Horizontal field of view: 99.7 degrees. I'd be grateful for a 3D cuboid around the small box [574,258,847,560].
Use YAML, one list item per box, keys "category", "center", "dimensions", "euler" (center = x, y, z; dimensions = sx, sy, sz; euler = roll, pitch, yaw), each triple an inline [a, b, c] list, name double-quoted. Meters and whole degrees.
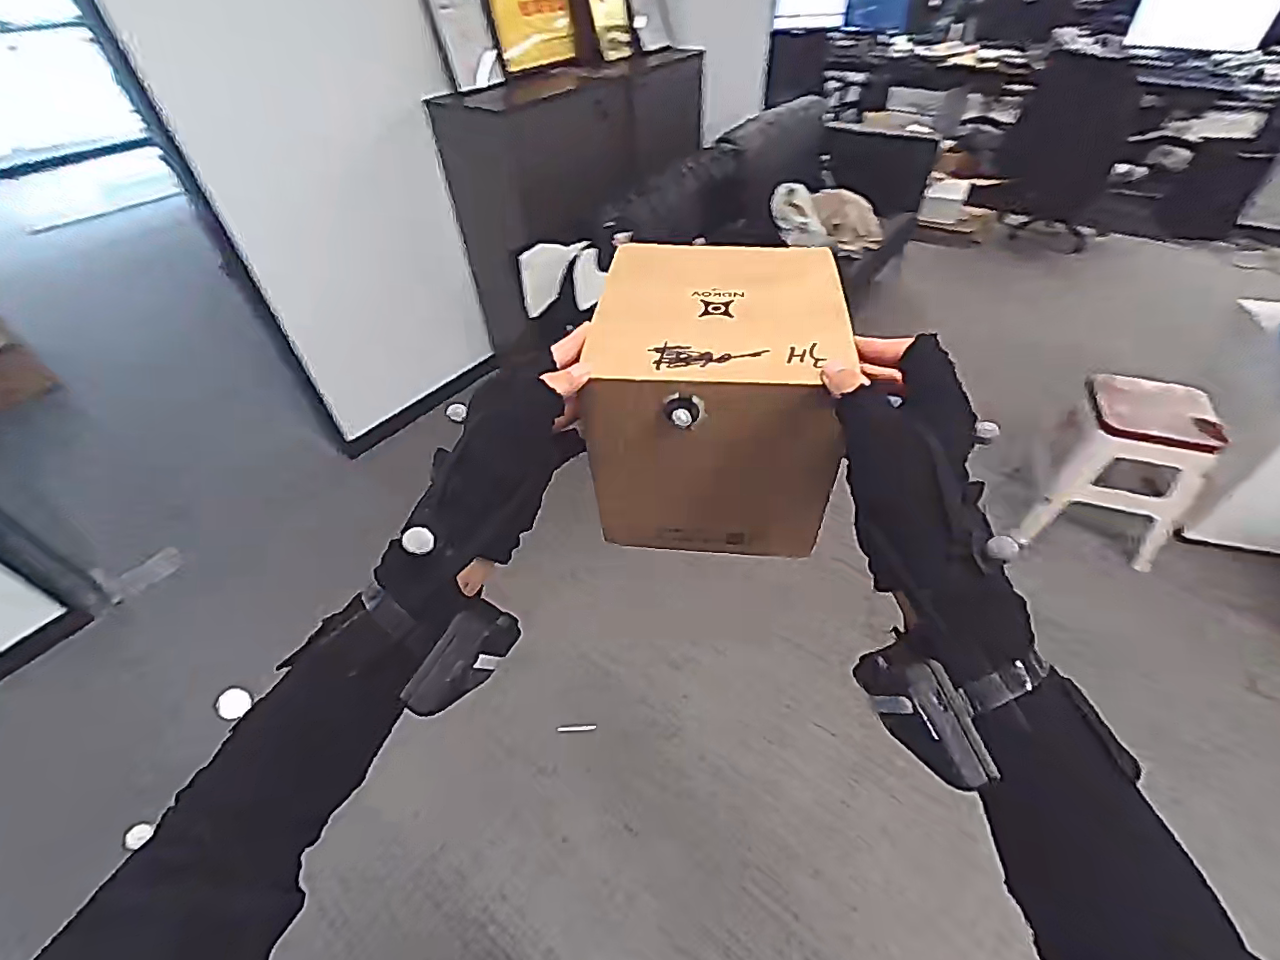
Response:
- category: "small box"
  center: [0.055, -0.060, 0.434]
  dimensions: [0.168, 0.176, 0.179]
  euler: [2, 46, 8]
